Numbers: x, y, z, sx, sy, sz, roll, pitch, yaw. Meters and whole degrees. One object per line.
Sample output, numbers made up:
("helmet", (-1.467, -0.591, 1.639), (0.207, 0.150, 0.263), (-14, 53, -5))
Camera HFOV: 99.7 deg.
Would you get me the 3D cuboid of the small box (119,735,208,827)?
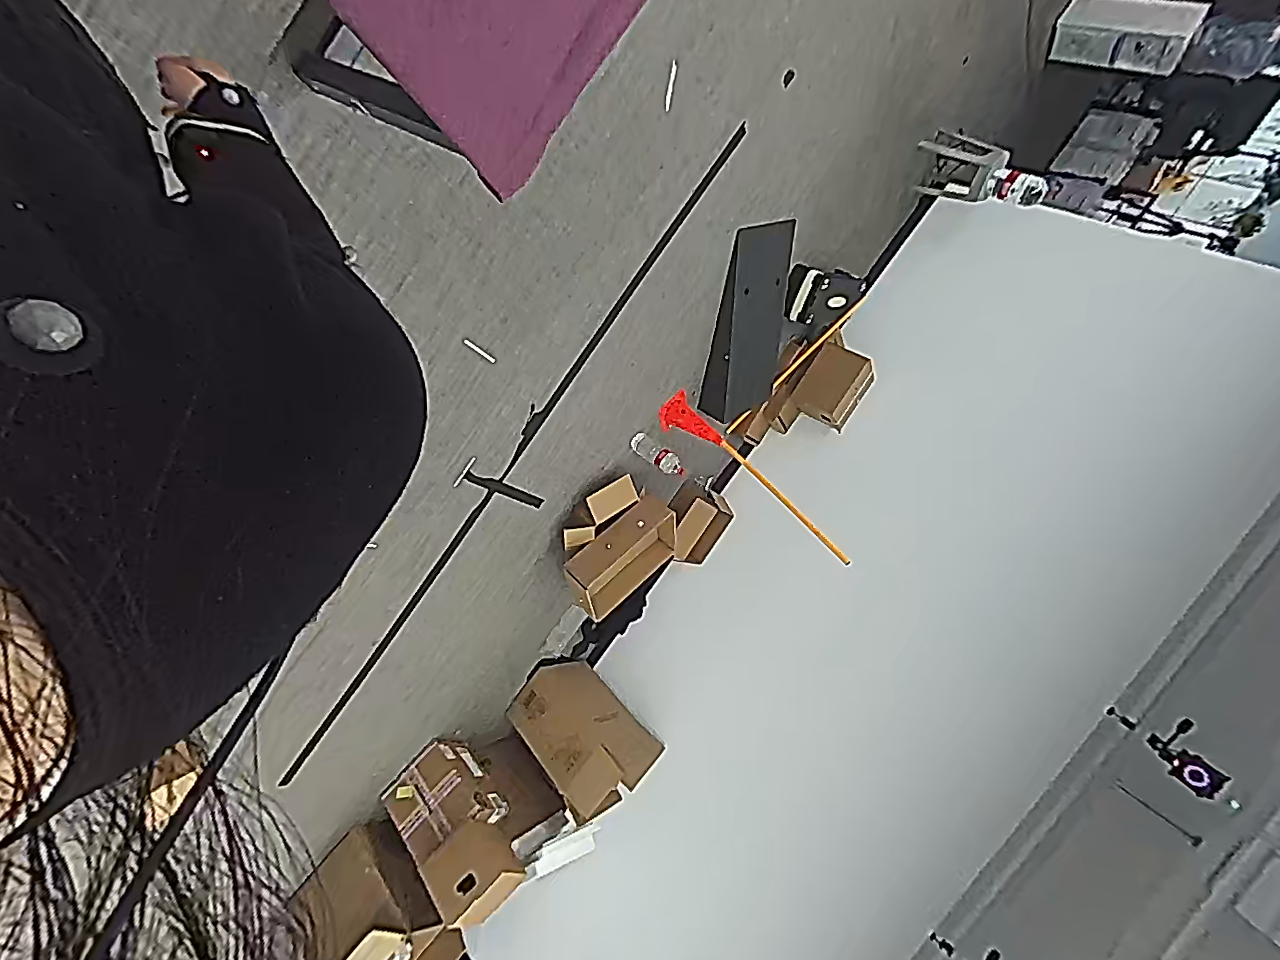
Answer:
("small box", (-1.547, 0.966, 1.755), (0.168, 0.176, 0.179), (-22, 140, -41))
